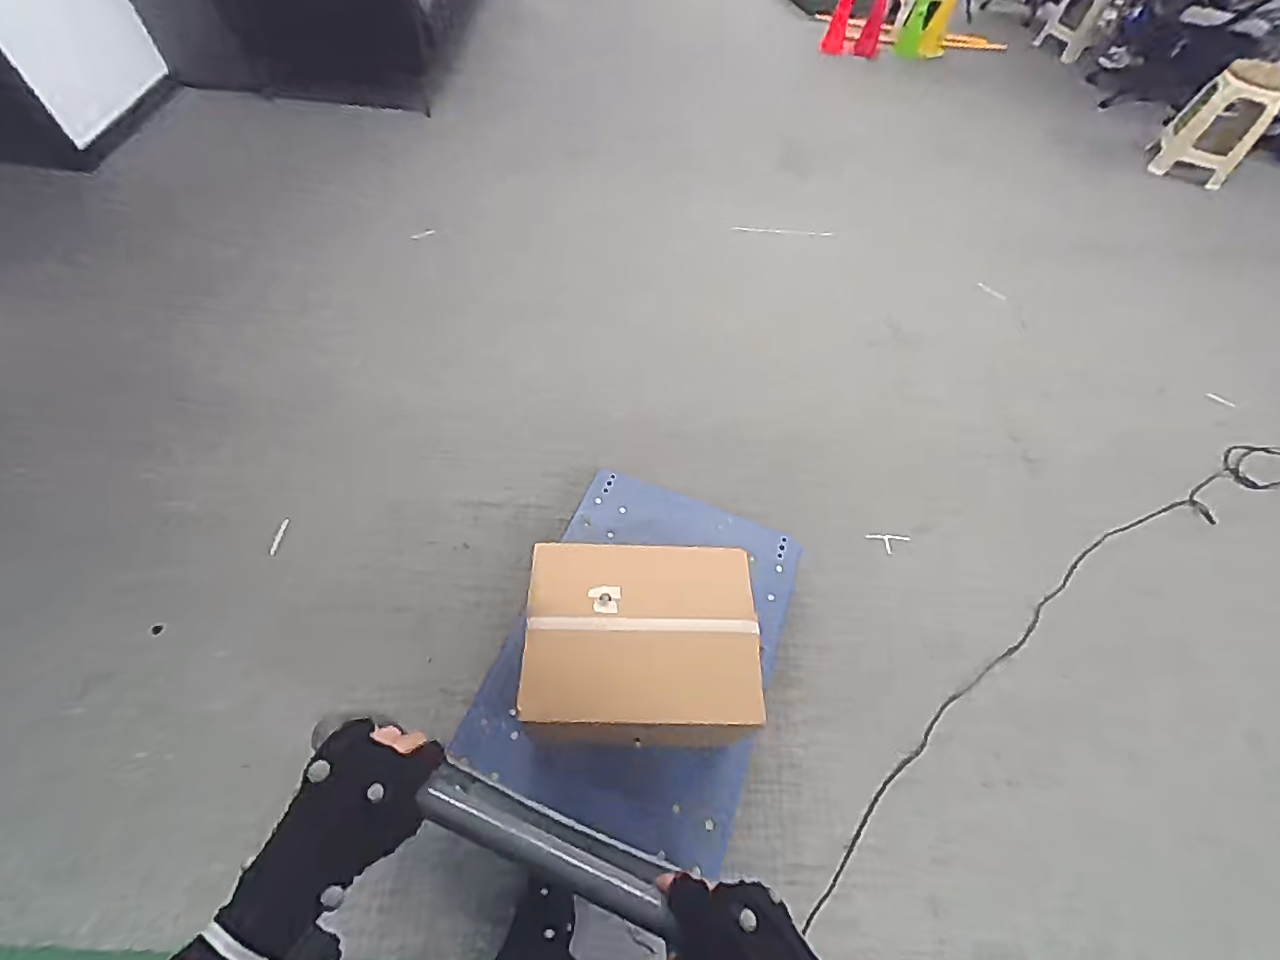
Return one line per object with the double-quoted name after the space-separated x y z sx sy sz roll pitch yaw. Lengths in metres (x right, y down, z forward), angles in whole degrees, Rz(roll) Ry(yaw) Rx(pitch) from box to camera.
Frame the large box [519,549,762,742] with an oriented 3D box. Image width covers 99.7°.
-0.003 0.342 1.080 0.408 0.320 0.320 2 57 -2 "large box"
